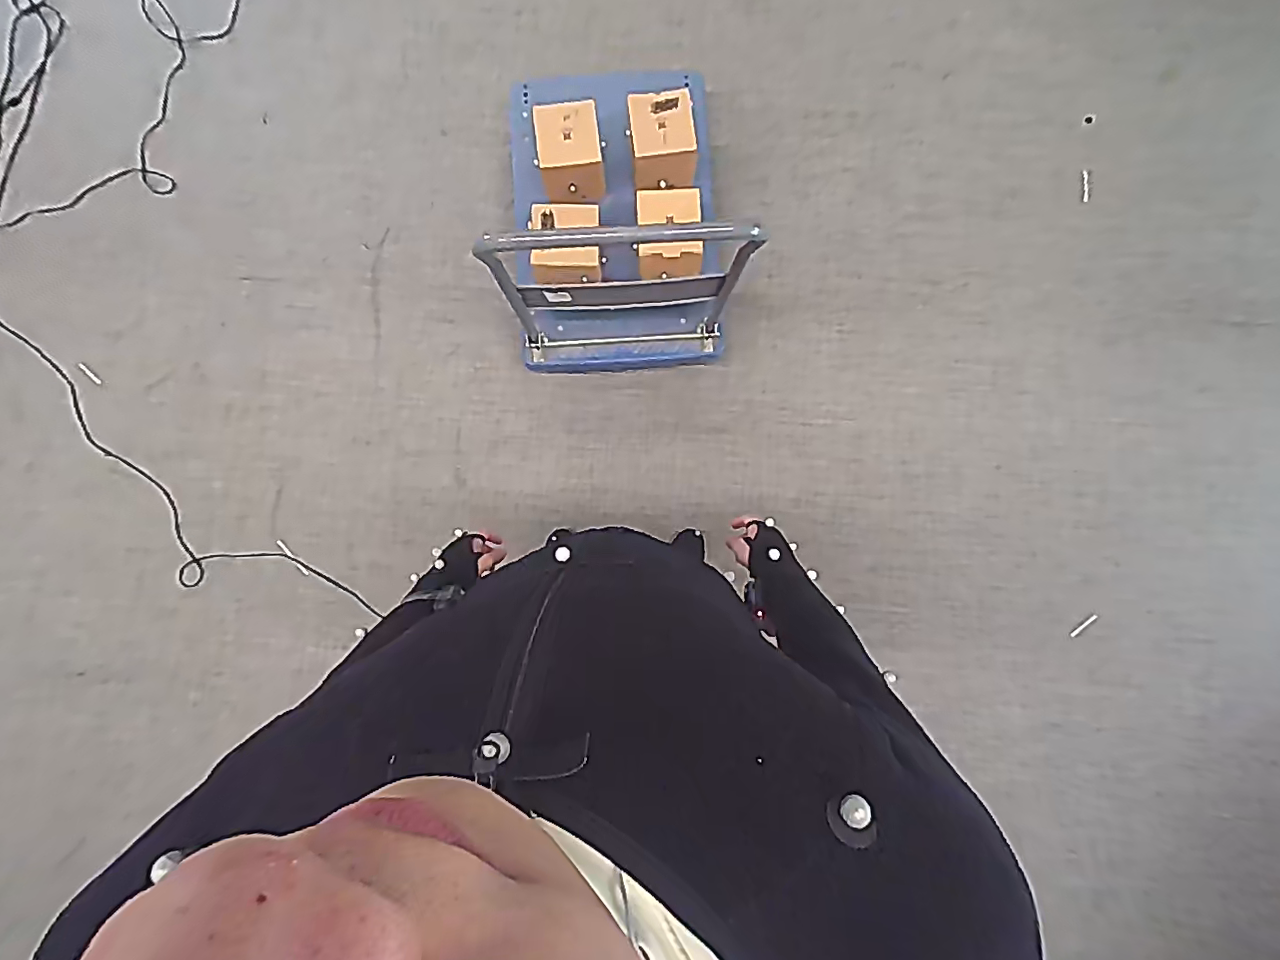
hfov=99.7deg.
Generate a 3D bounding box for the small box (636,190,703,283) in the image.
[{"bbox_3d":[0.075,-0.656,1.469,0.168,0.176,0.179,-3,86,-1],"label":"small box"}]

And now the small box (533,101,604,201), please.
[{"bbox_3d":[-0.191,-0.892,1.485,0.168,0.176,0.179,-7,86,-2],"label":"small box"}]

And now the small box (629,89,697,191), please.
[{"bbox_3d":[0.058,-0.925,1.489,0.168,0.176,0.179,-7,87,0],"label":"small box"}]
